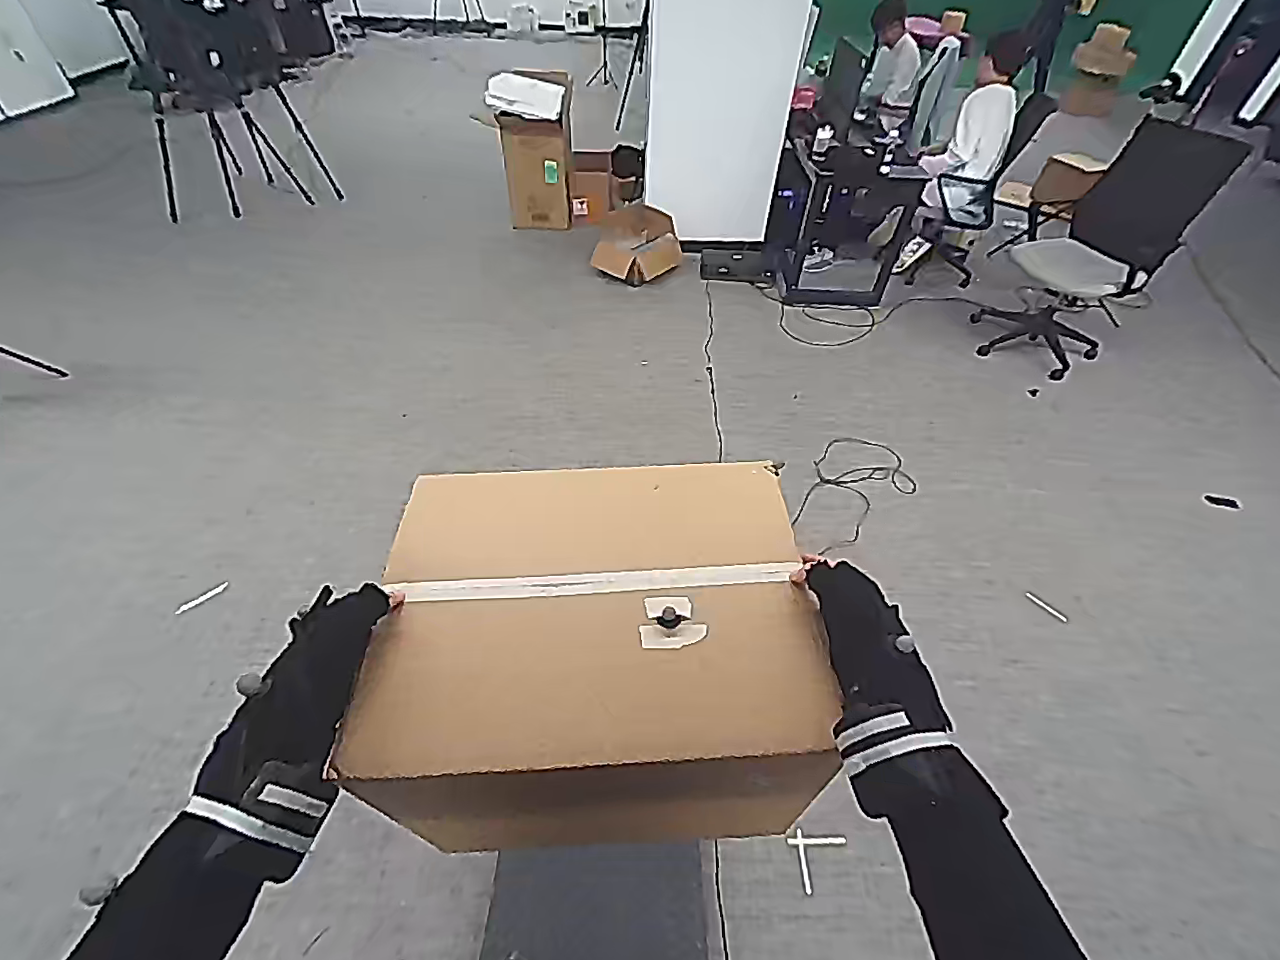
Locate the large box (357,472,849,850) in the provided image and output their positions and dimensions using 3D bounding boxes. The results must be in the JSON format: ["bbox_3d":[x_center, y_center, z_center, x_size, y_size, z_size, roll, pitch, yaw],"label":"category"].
[{"bbox_3d":[-0.035,0.212,0.638,0.408,0.320,0.320,-2,47,-2],"label":"large box"}]
